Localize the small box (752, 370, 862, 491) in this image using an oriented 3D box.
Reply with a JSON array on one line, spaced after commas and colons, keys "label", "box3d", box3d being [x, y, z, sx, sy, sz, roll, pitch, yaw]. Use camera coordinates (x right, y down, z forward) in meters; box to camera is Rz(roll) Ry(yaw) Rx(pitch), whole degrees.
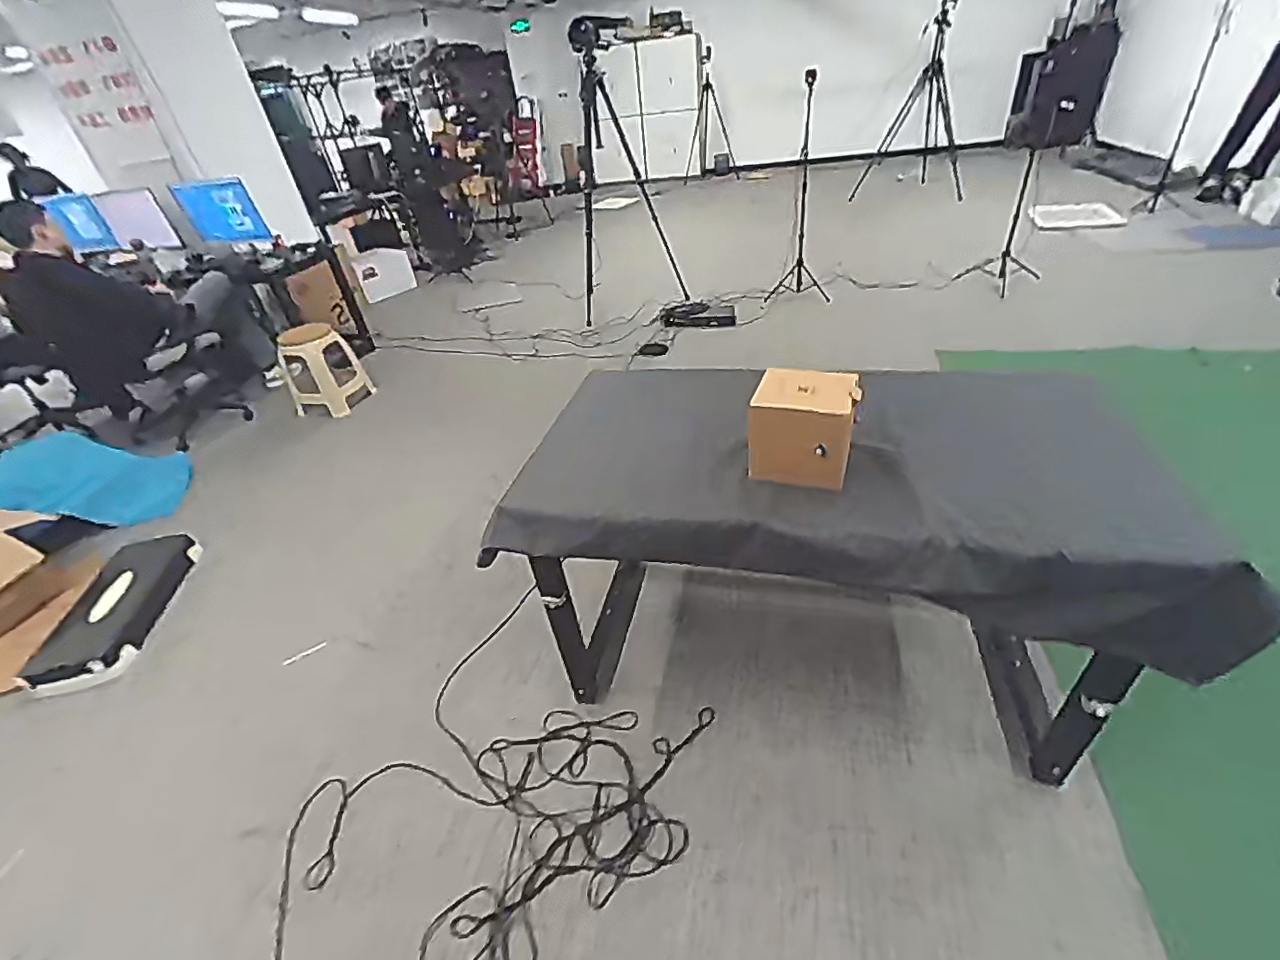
[{"label": "small box", "box3d": [0.320, -0.096, 1.045, 0.179, 0.176, 0.168, 8, 37, 22]}]
